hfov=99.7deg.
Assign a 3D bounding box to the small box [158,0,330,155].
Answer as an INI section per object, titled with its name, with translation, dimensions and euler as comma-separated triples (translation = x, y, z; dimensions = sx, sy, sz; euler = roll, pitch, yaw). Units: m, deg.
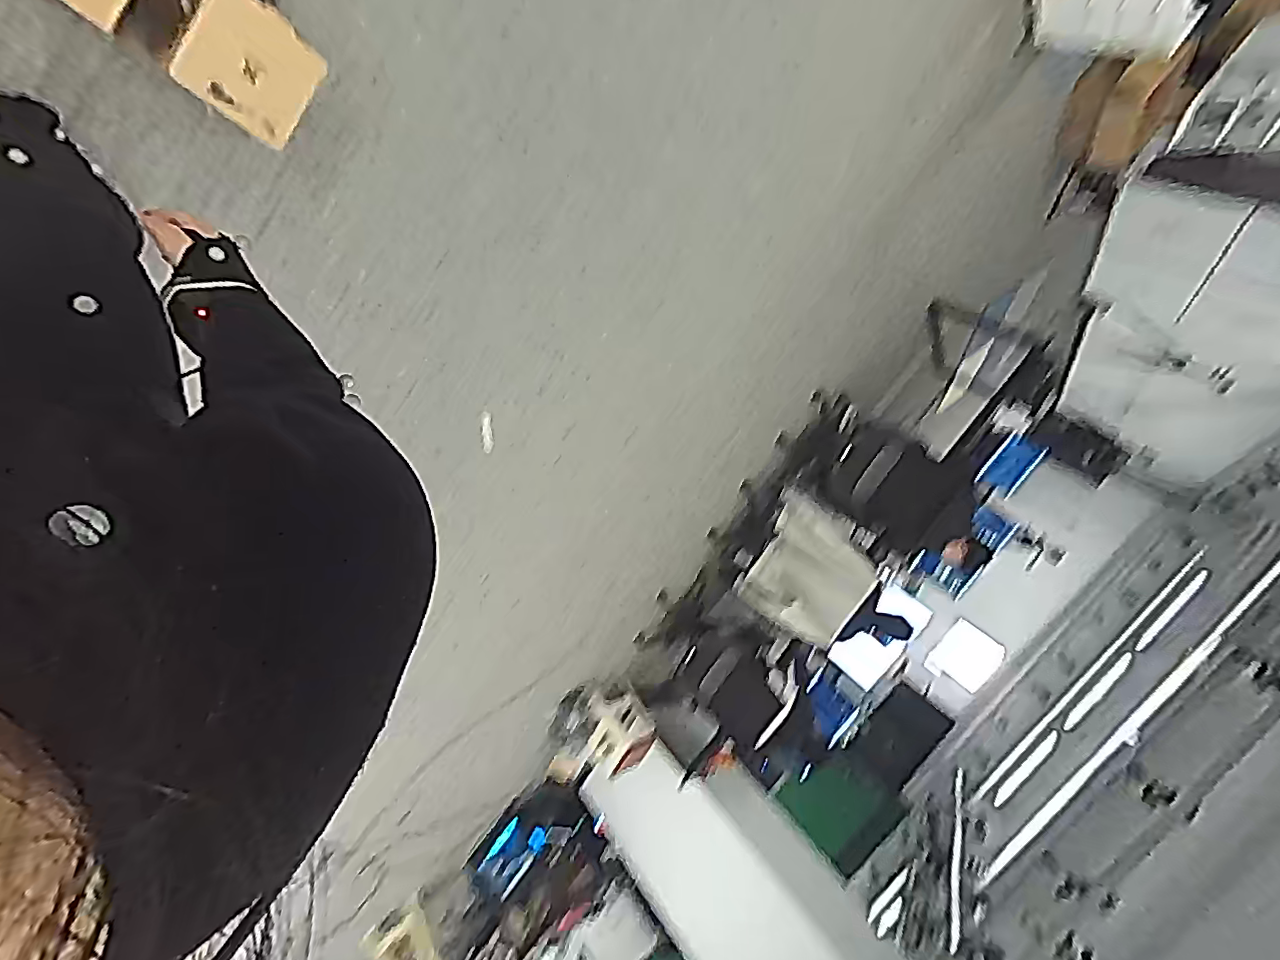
[small box]
translation = -0.678, -0.706, 0.922
dimensions = 0.179, 0.176, 0.168
euler = -54, 147, 6
